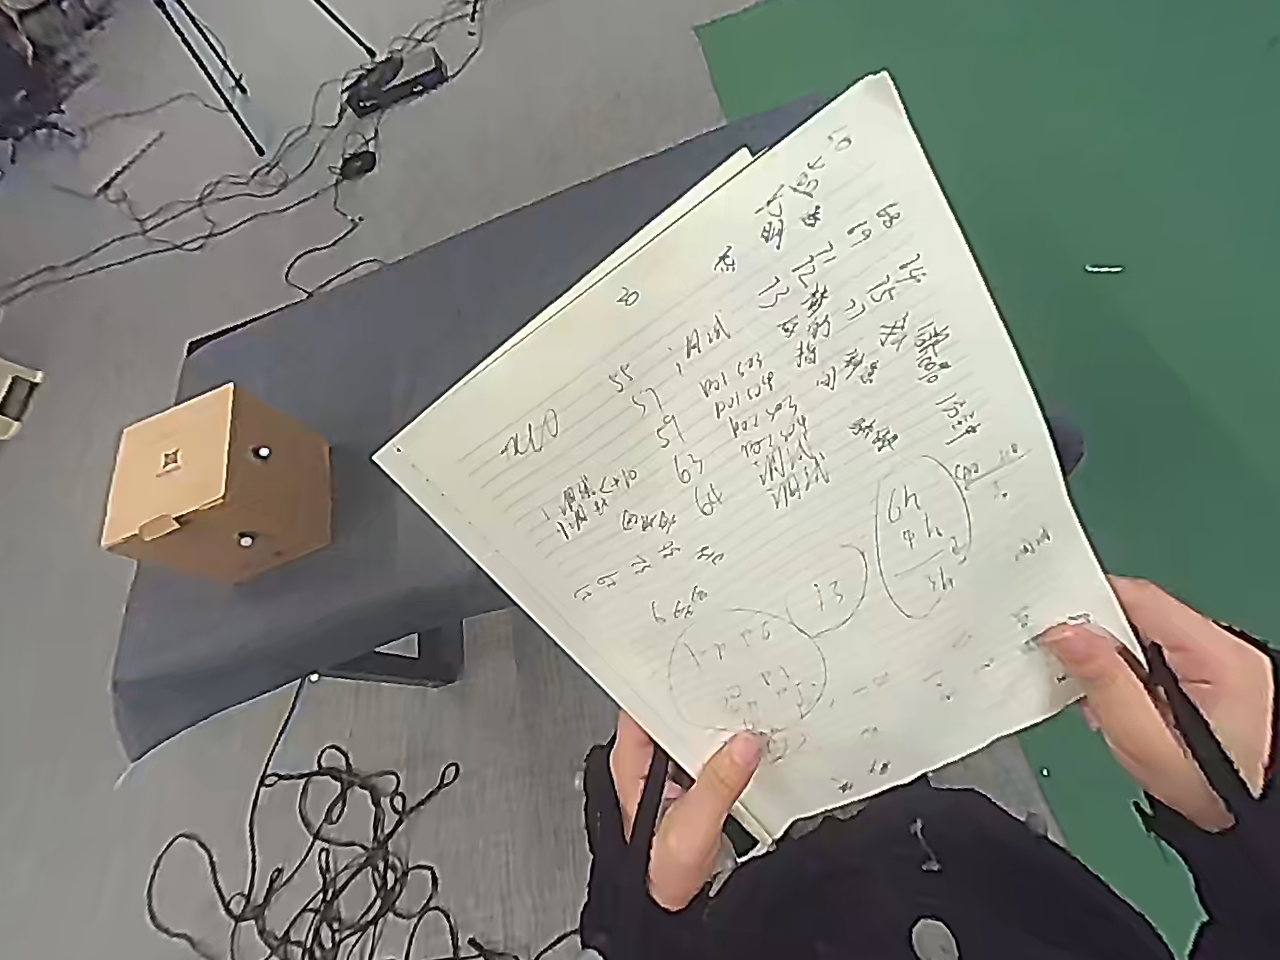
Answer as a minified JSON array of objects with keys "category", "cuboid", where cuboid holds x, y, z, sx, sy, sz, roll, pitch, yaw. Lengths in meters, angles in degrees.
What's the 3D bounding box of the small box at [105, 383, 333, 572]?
[{"category":"small box","cuboid":[-0.539,0.009,0.720,0.168,0.176,0.179,-21,61,4]}]
